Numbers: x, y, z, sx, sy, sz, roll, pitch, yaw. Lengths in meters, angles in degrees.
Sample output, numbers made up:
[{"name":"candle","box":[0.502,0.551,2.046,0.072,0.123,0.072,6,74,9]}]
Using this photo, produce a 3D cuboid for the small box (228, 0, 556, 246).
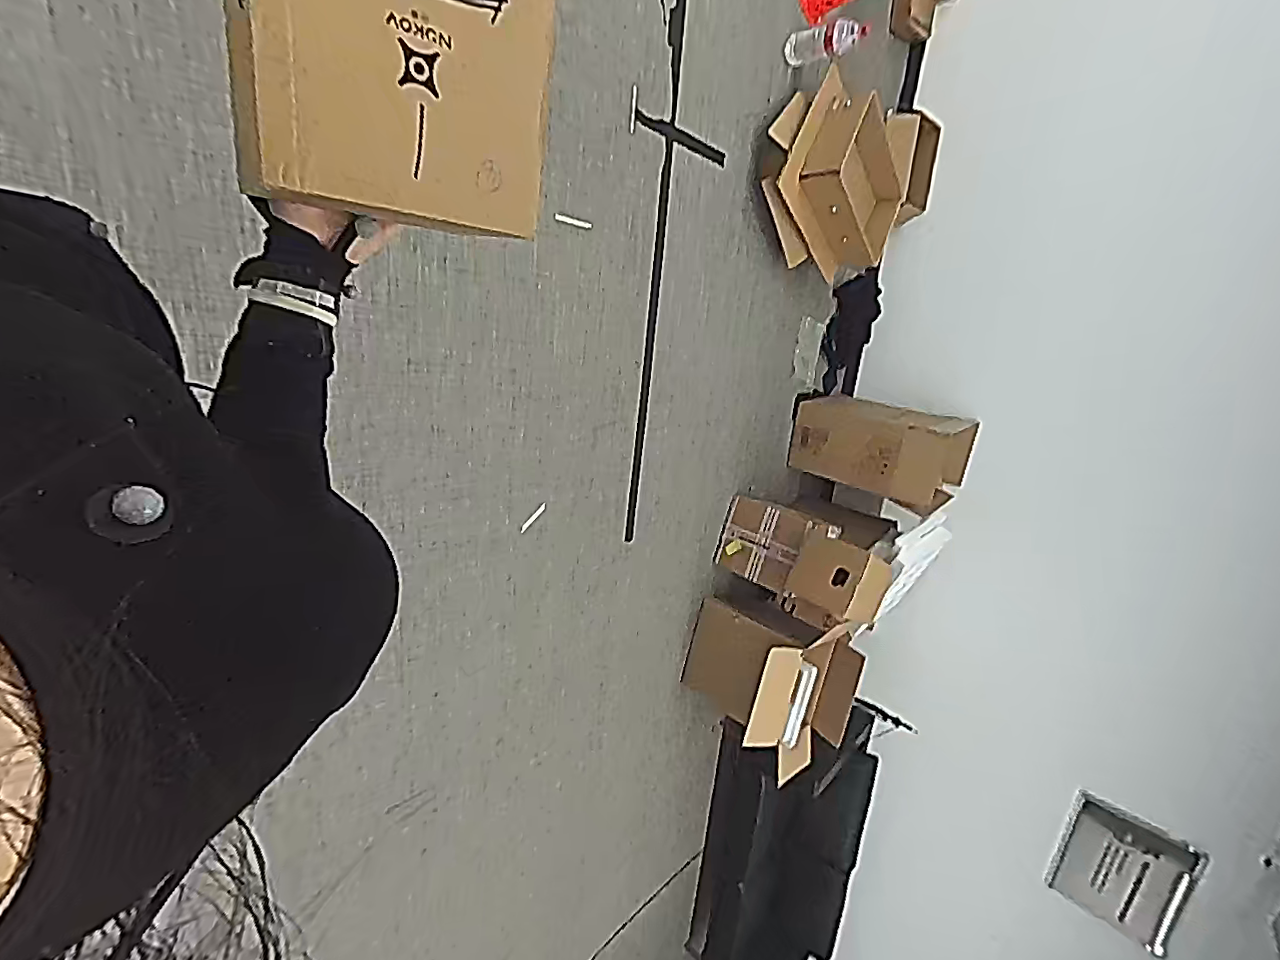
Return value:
[{"name":"small box","box":[-0.178,-0.276,0.378,0.168,0.176,0.179,-6,115,-38]}]
